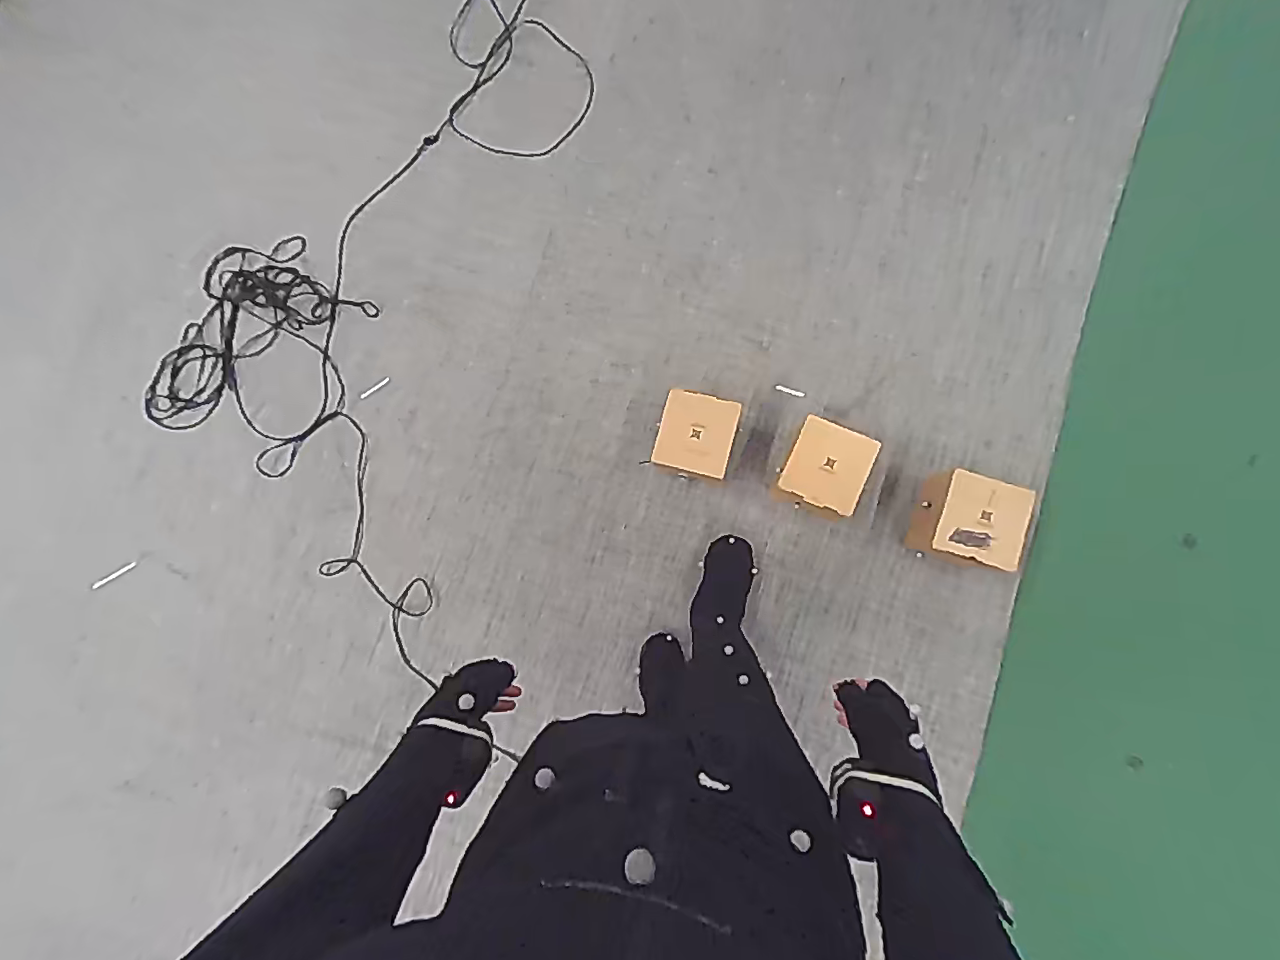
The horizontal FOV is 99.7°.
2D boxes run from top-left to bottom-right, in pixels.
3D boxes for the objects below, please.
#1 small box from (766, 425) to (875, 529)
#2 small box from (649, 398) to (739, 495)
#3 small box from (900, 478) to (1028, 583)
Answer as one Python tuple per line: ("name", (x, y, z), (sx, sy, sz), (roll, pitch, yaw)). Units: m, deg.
("small box", (0.400, 0.000, 1.229), (0.168, 0.176, 0.179), (24, 86, 8))
("small box", (0.127, -0.073, 1.267), (0.168, 0.176, 0.179), (14, 86, 9))
("small box", (0.695, 0.112, 1.183), (0.168, 0.176, 0.179), (19, 84, 8))
